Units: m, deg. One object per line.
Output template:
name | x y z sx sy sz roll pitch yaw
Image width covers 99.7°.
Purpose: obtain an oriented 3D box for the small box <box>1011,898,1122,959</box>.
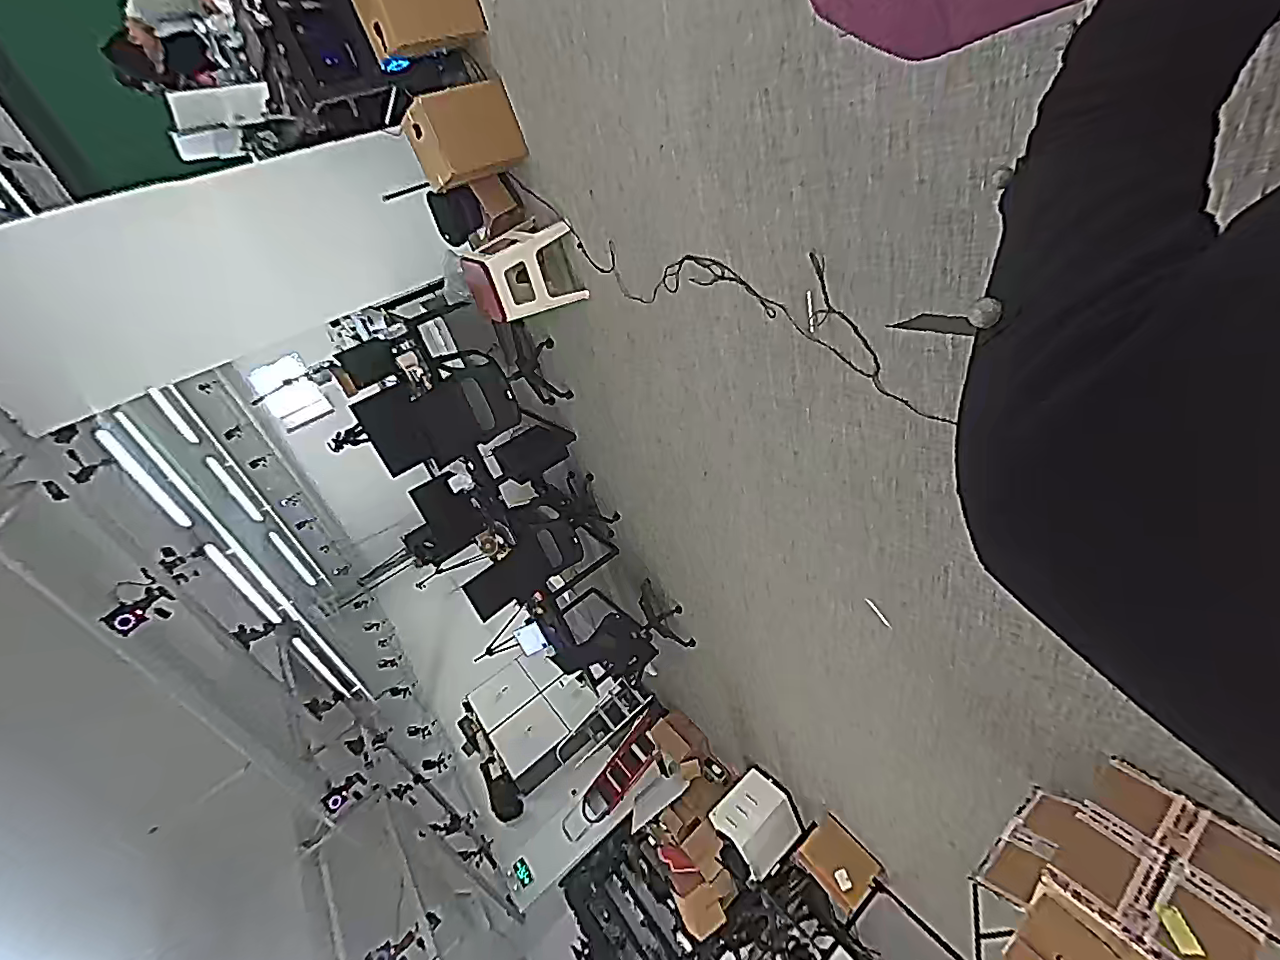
small box | 1.195 1.336 1.517 0.179 0.176 0.168 36 148 45
